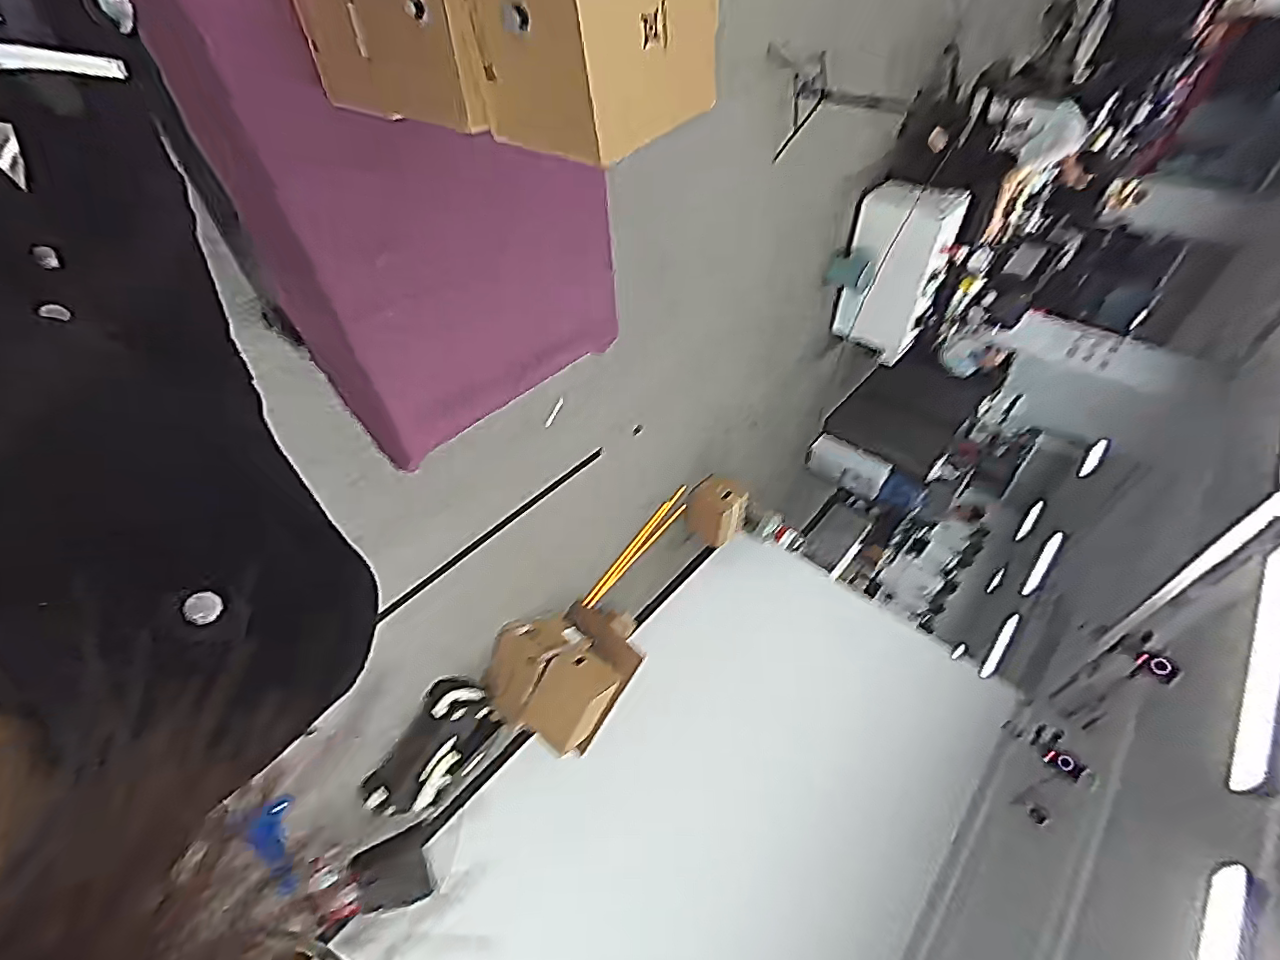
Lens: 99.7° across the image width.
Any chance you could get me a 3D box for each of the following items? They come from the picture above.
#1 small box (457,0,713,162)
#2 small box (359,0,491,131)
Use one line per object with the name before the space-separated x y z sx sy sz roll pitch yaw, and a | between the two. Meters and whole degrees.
small box | -0.051 -0.426 0.505 0.179 0.176 0.168 -45 148 -25
small box | -0.184 -0.495 0.572 0.168 0.176 0.179 -38 146 -31
